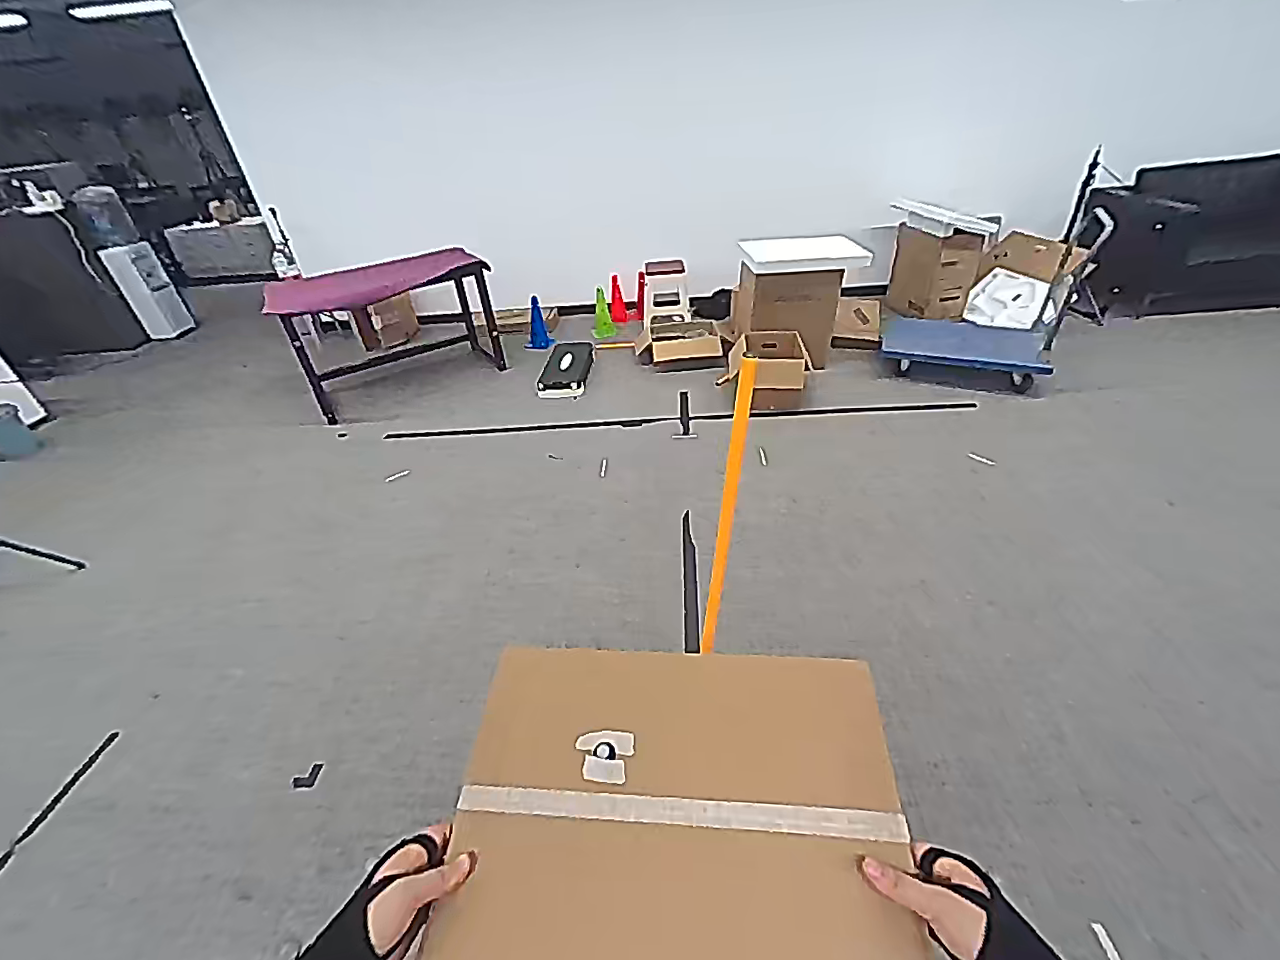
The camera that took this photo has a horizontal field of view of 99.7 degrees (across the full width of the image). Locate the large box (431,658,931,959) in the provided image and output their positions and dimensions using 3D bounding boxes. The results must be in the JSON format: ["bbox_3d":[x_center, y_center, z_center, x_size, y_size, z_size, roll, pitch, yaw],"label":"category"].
[{"bbox_3d":[0.053,0.415,0.602,0.408,0.320,0.320,-3,43,9],"label":"large box"}]
